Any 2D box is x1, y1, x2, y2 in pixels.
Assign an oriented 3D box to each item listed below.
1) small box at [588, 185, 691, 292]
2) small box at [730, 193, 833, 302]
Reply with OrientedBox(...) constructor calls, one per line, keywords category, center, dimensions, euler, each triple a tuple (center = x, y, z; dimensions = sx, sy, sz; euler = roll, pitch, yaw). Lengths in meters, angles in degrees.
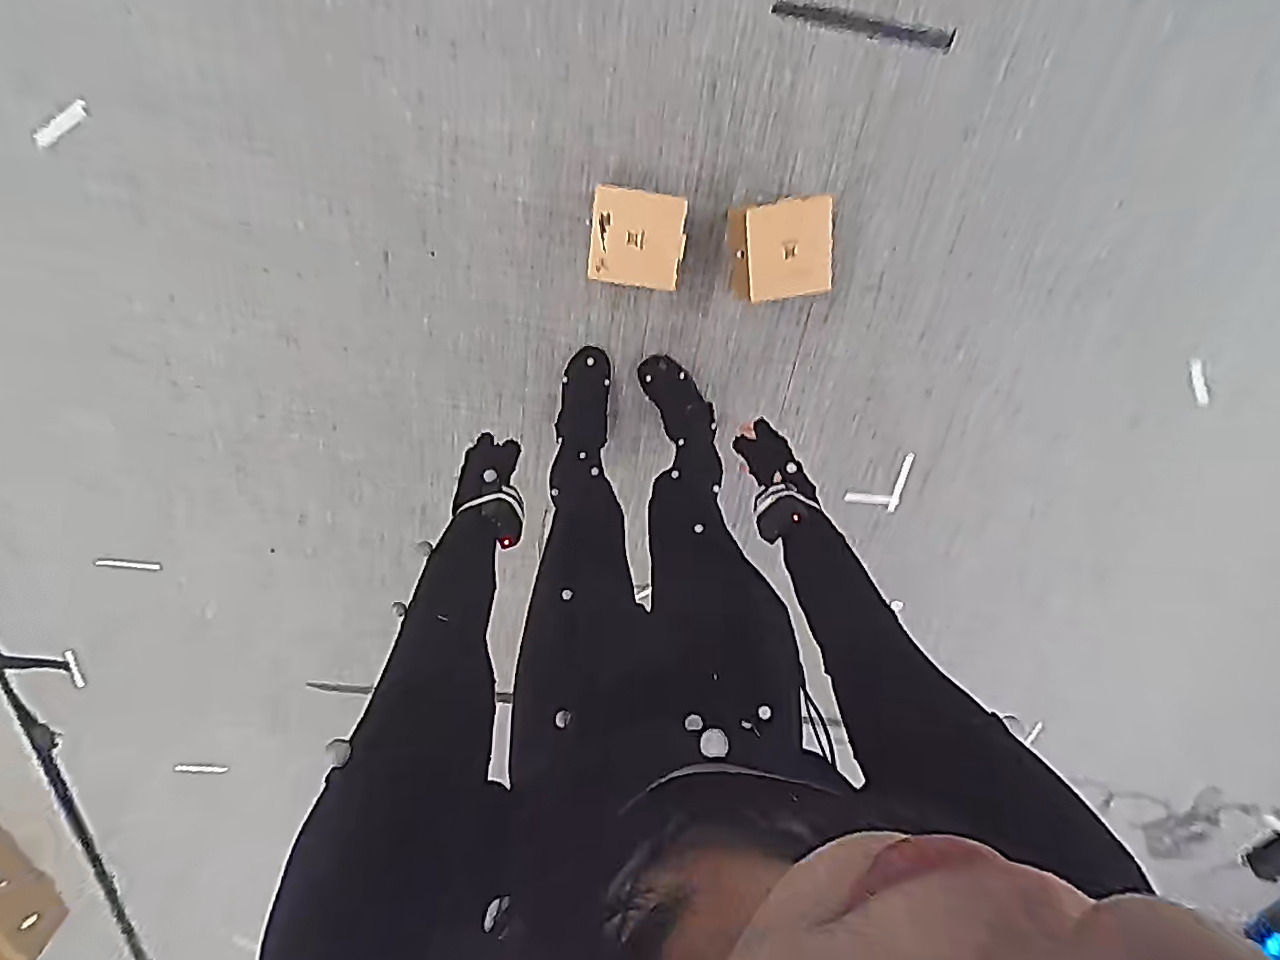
OrientedBox(category="small box", center=(-0.009, -0.487, 1.091), dimensions=(0.179, 0.176, 0.168), euler=(6, 115, -7))
OrientedBox(category="small box", center=(0.287, -0.480, 1.116), dimensions=(0.168, 0.176, 0.179), euler=(-9, 116, 2))
